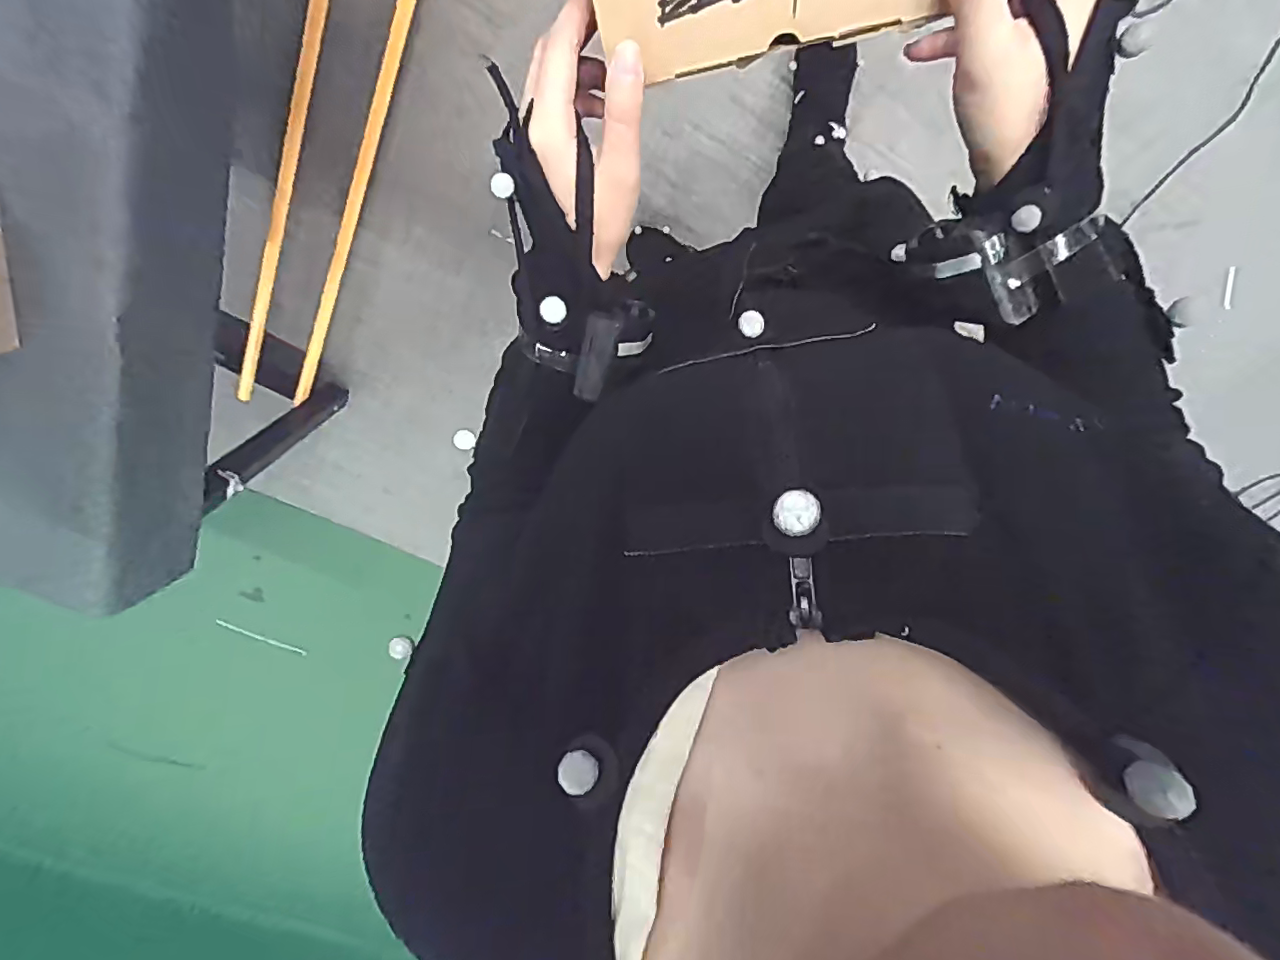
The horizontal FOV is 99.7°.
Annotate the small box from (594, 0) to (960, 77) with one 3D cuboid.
[{"bbox_3d":[0.050,-0.317,0.236,0.168,0.176,0.179,-8,138,8],"label":"small box"}]
